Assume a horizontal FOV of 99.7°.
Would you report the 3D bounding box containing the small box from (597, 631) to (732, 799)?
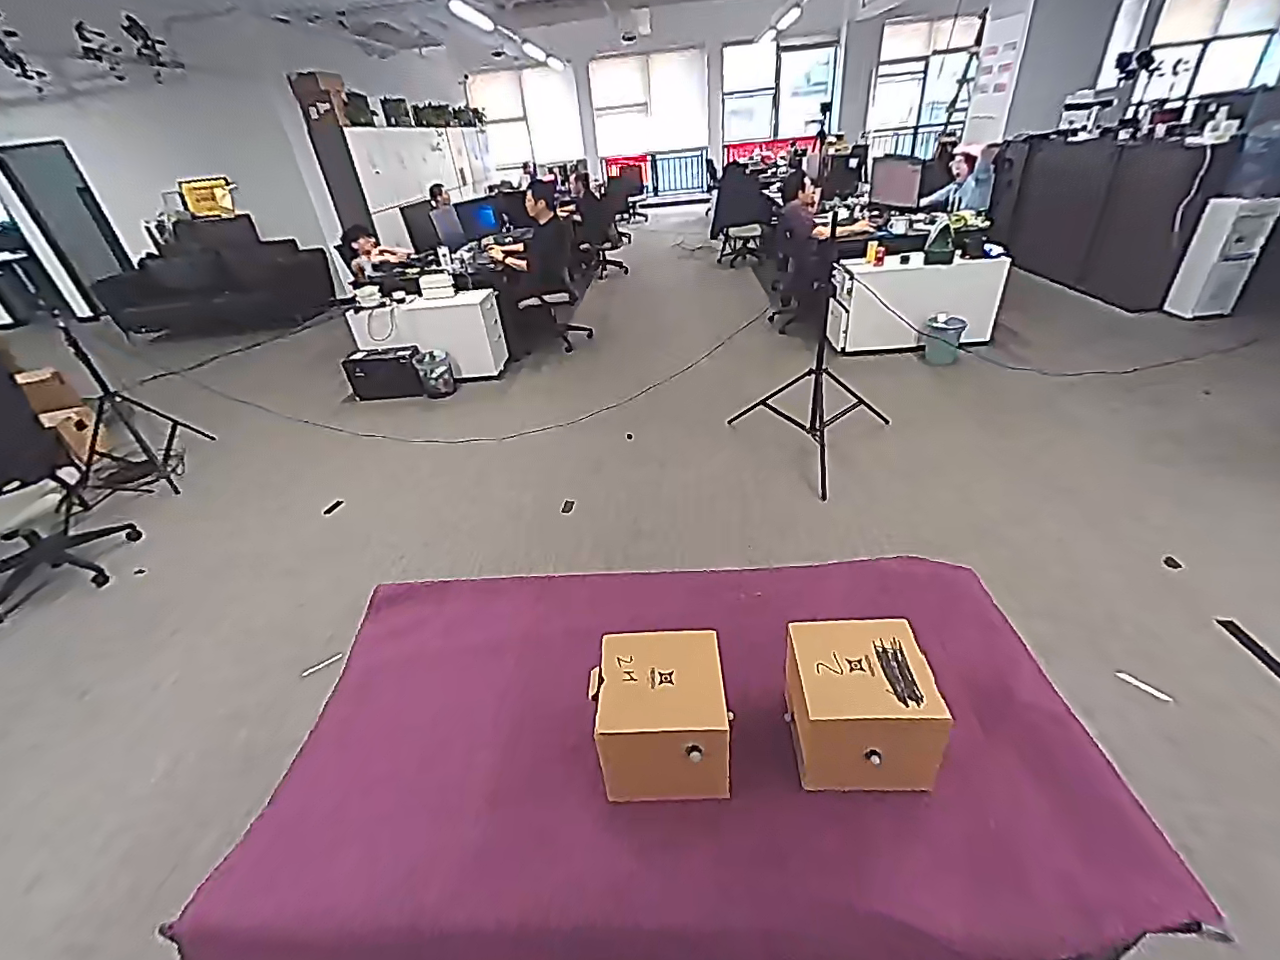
[{"bbox_3d":[0.039,0.346,0.799,0.179,0.176,0.168,-4,32,3],"label":"small box"}]
